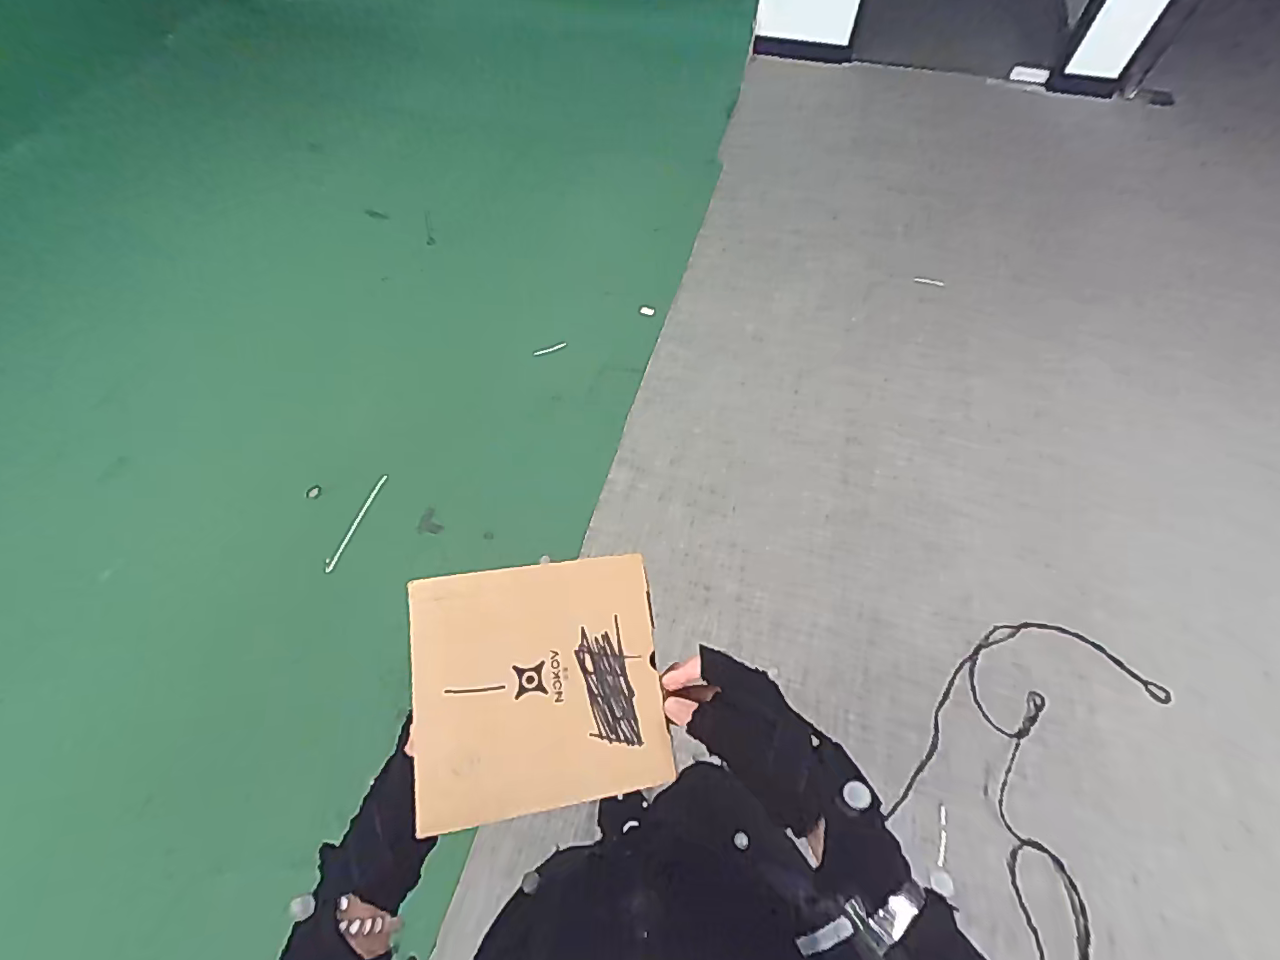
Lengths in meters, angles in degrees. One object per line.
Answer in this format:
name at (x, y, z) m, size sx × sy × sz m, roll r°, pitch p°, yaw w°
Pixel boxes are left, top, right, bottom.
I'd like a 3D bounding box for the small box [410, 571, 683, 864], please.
small box at (-0.080, 0.176, 0.446) m, size 0.179 × 0.176 × 0.168 m, roll -5°, pitch 72°, yaw -13°
